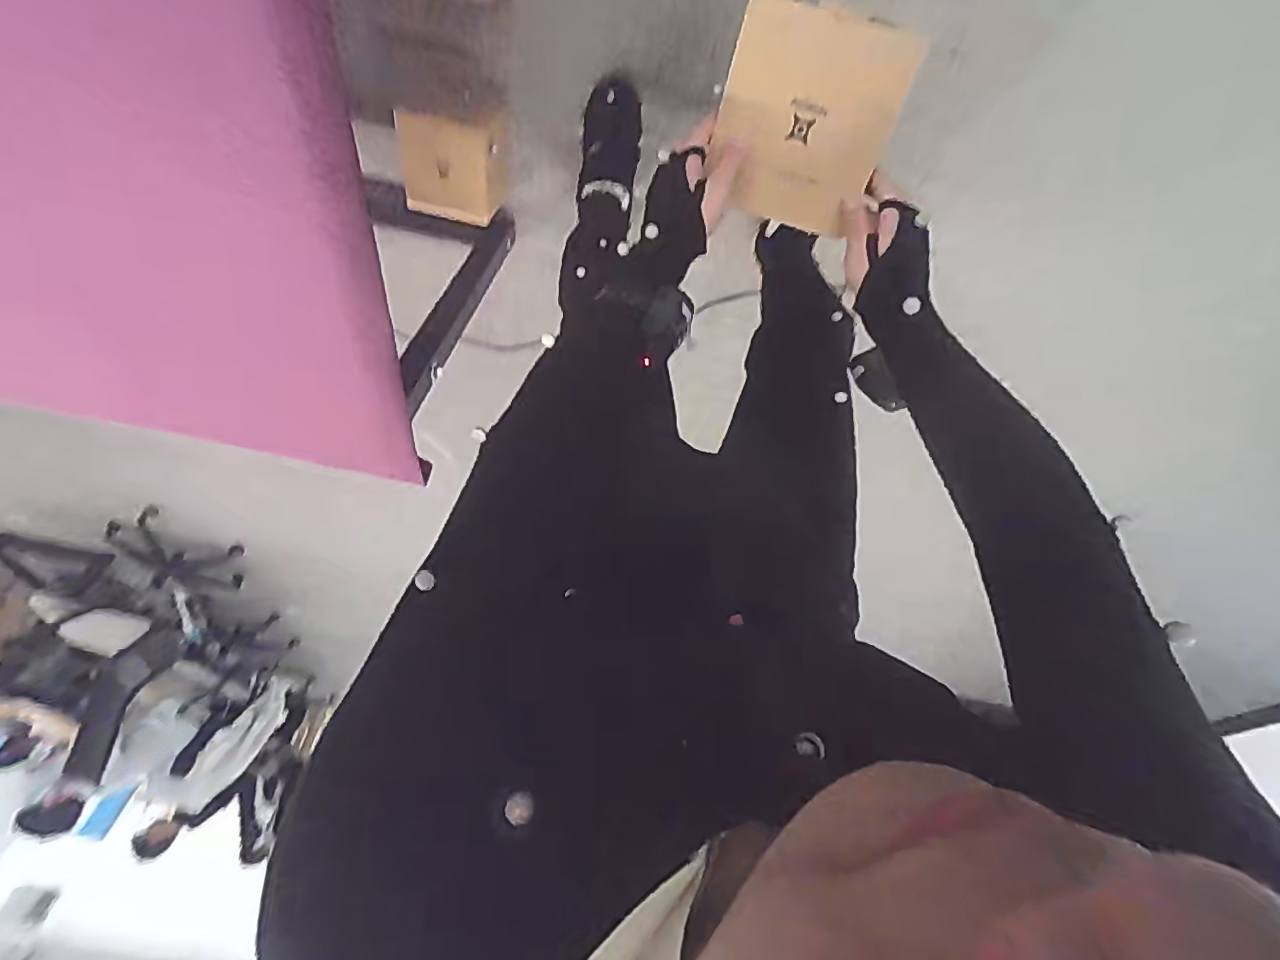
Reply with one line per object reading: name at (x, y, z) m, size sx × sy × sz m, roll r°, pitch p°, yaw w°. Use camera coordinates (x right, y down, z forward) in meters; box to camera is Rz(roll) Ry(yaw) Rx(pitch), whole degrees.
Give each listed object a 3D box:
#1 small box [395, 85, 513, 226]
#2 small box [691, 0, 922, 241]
small box at (-0.355, -0.642, 1.070) m, size 0.168 × 0.176 × 0.179 m, roll 12°, pitch 140°, yaw -2°
small box at (0.165, -0.390, 0.583) m, size 0.168 × 0.176 × 0.179 m, roll 18°, pitch 130°, yaw 1°
